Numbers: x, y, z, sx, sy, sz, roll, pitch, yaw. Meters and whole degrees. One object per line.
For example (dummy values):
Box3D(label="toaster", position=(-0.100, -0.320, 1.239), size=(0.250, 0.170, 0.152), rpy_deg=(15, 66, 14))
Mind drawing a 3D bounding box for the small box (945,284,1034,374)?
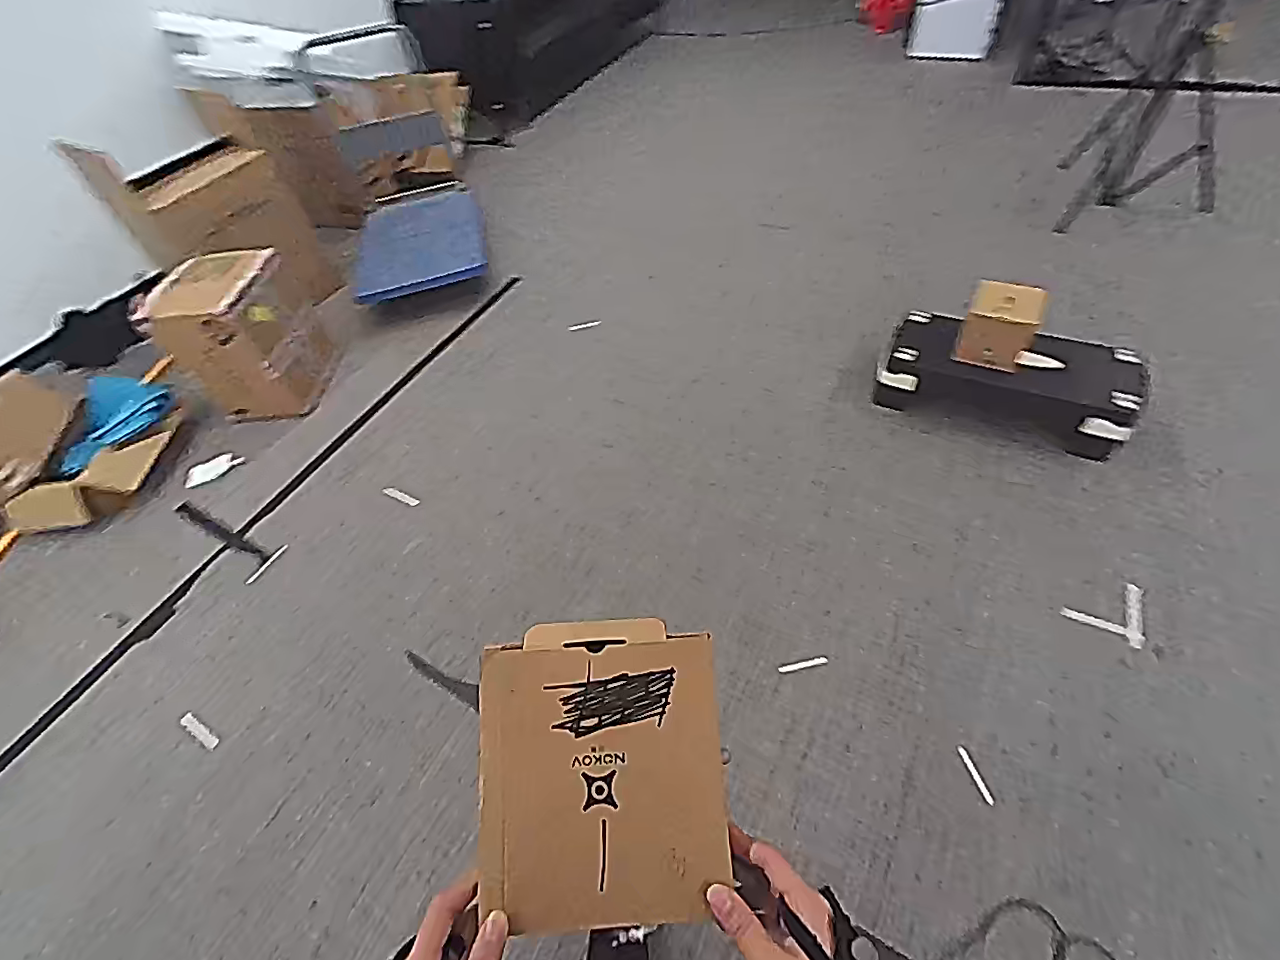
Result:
Box3D(label="small box", position=(1.021, -0.444, 1.589), size=(0.168, 0.176, 0.179), rpy_deg=(20, 58, 24))

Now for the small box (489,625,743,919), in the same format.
Box3D(label="small box", position=(-0.018, 0.216, 0.445), size=(0.168, 0.176, 0.179), rpy_deg=(-3, 74, 0))

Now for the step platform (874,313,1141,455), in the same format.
Box3D(label="step platform", position=(1.124, -0.324, 1.701), size=(0.684, 0.204, 0.286), rpy_deg=(19, 57, 23))
